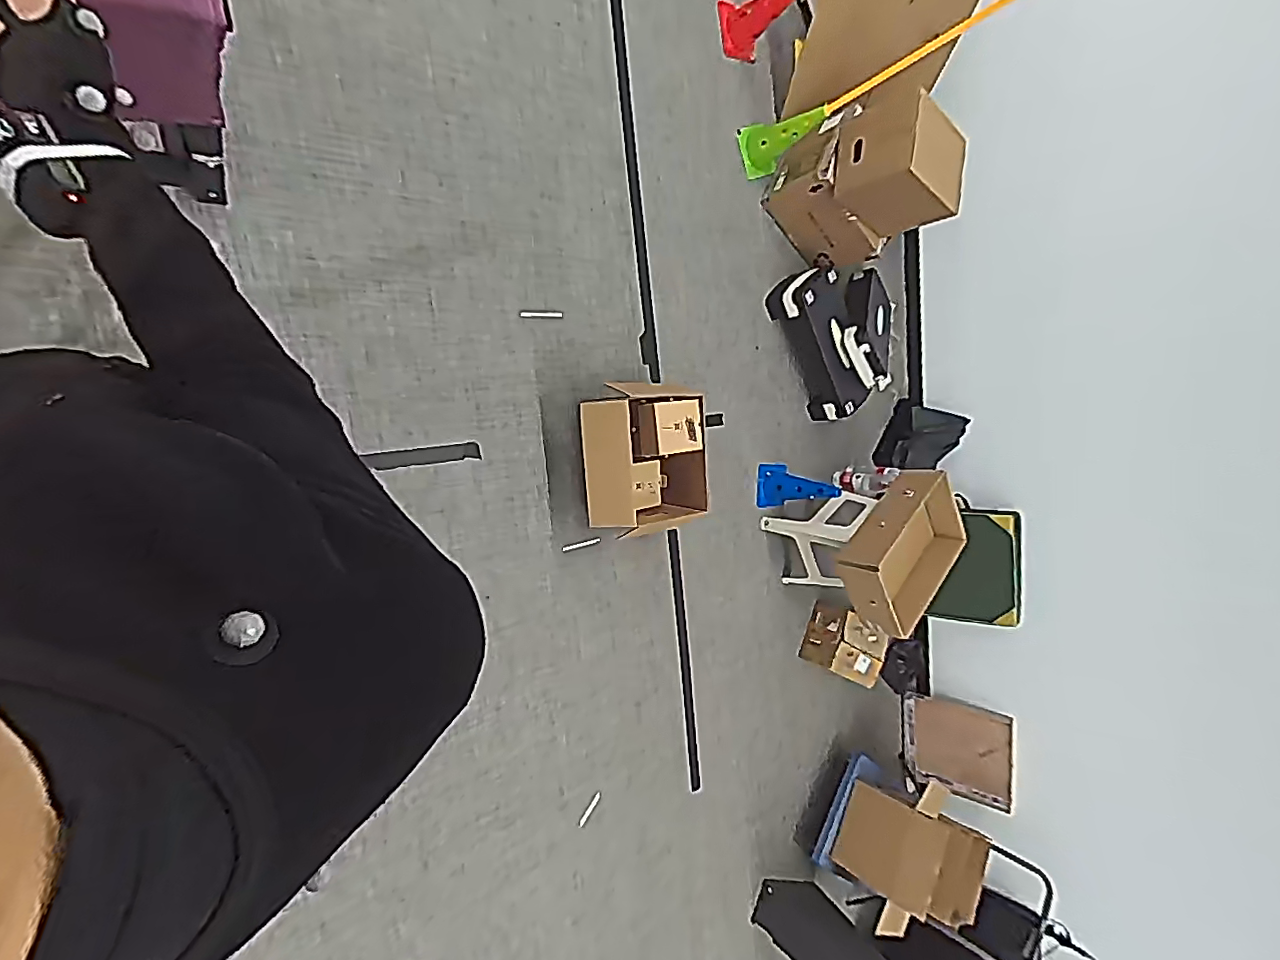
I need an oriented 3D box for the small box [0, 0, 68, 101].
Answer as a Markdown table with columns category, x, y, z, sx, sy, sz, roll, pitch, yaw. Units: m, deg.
| category | x | y | z | sx | sy | sz | roll | pitch | yaw |
| --- | --- | --- | --- | --- | --- | --- | --- | --- | --- |
| small box | -0.578 | -0.423 | 0.399 | 0.168 | 0.176 | 0.179 | -18 | 108 | -35 |
